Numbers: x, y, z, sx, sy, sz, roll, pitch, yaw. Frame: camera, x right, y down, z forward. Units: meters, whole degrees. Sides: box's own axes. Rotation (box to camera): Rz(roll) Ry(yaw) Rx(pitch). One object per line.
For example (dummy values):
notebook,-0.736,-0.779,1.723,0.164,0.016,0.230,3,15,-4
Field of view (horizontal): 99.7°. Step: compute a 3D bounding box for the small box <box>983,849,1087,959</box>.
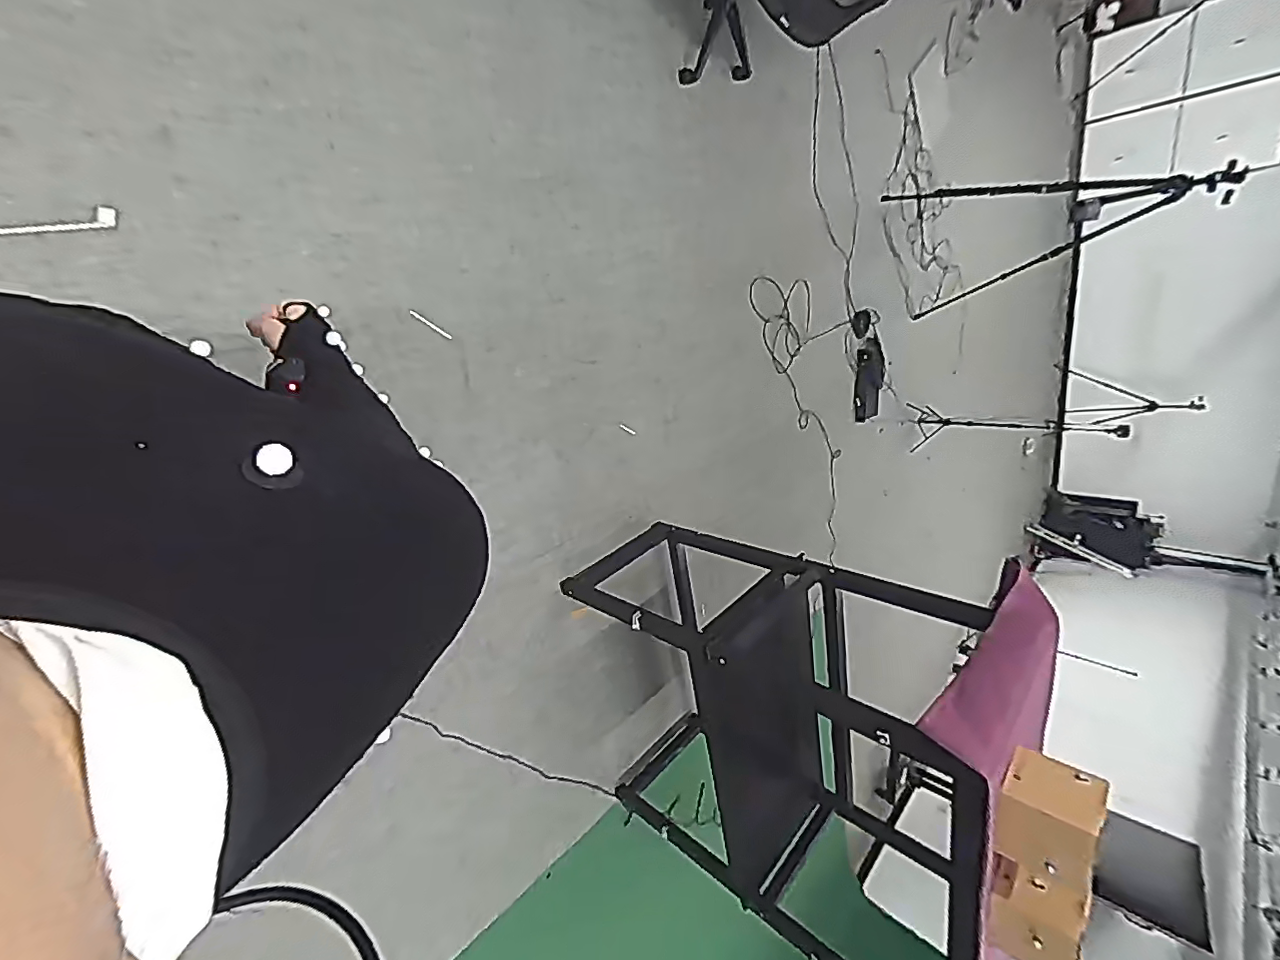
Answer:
small box,0.928,1.022,1.275,0.168,0.176,0.179,-23,113,-39
